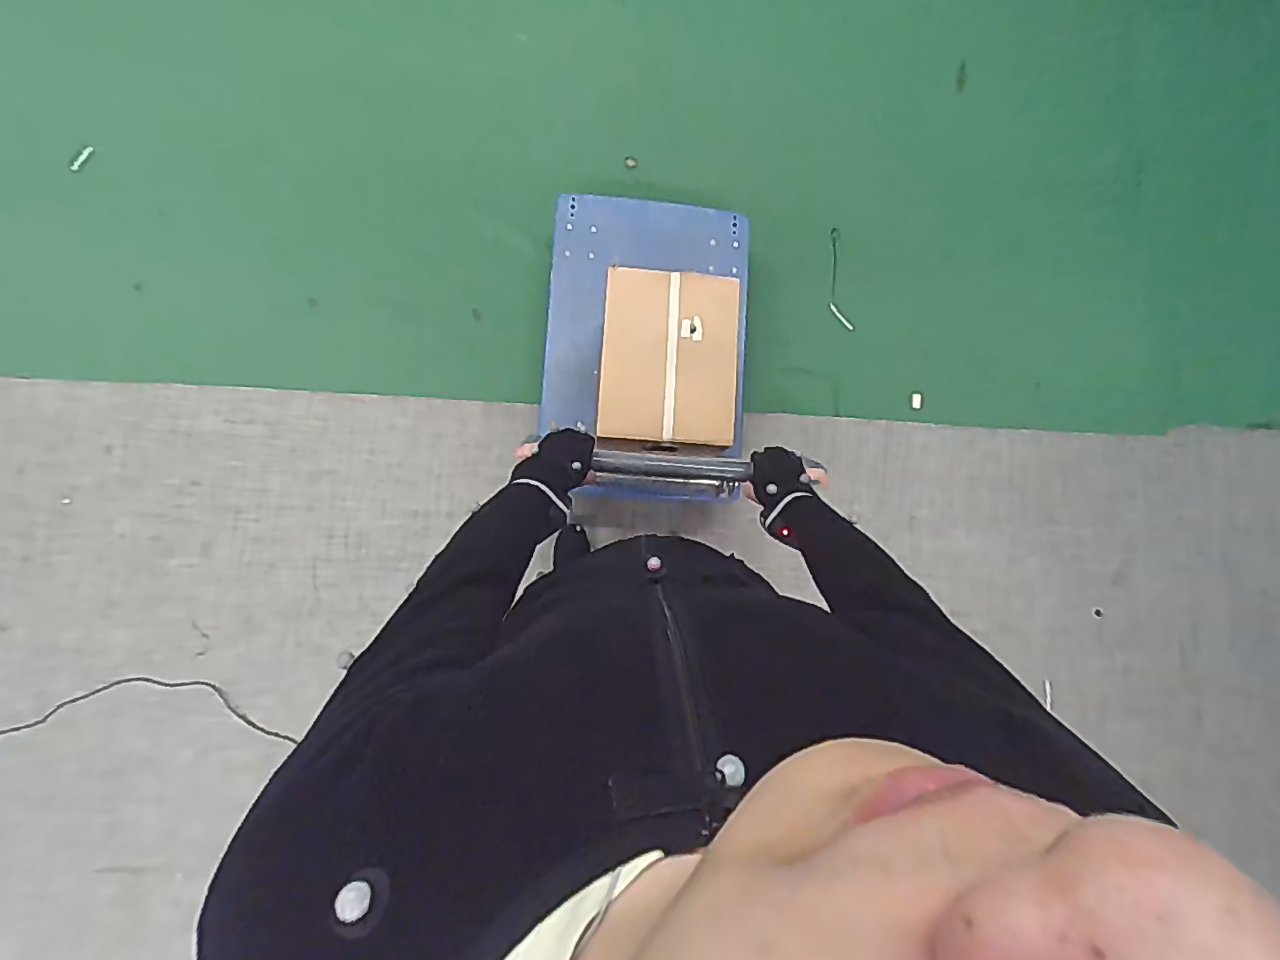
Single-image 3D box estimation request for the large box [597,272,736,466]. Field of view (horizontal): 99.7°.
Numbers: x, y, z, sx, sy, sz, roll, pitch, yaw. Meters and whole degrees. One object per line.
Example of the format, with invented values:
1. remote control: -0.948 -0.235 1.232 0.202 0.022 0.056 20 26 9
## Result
1. large box: 0.054 -0.259 1.381 0.320 0.320 0.408 4 82 -6
